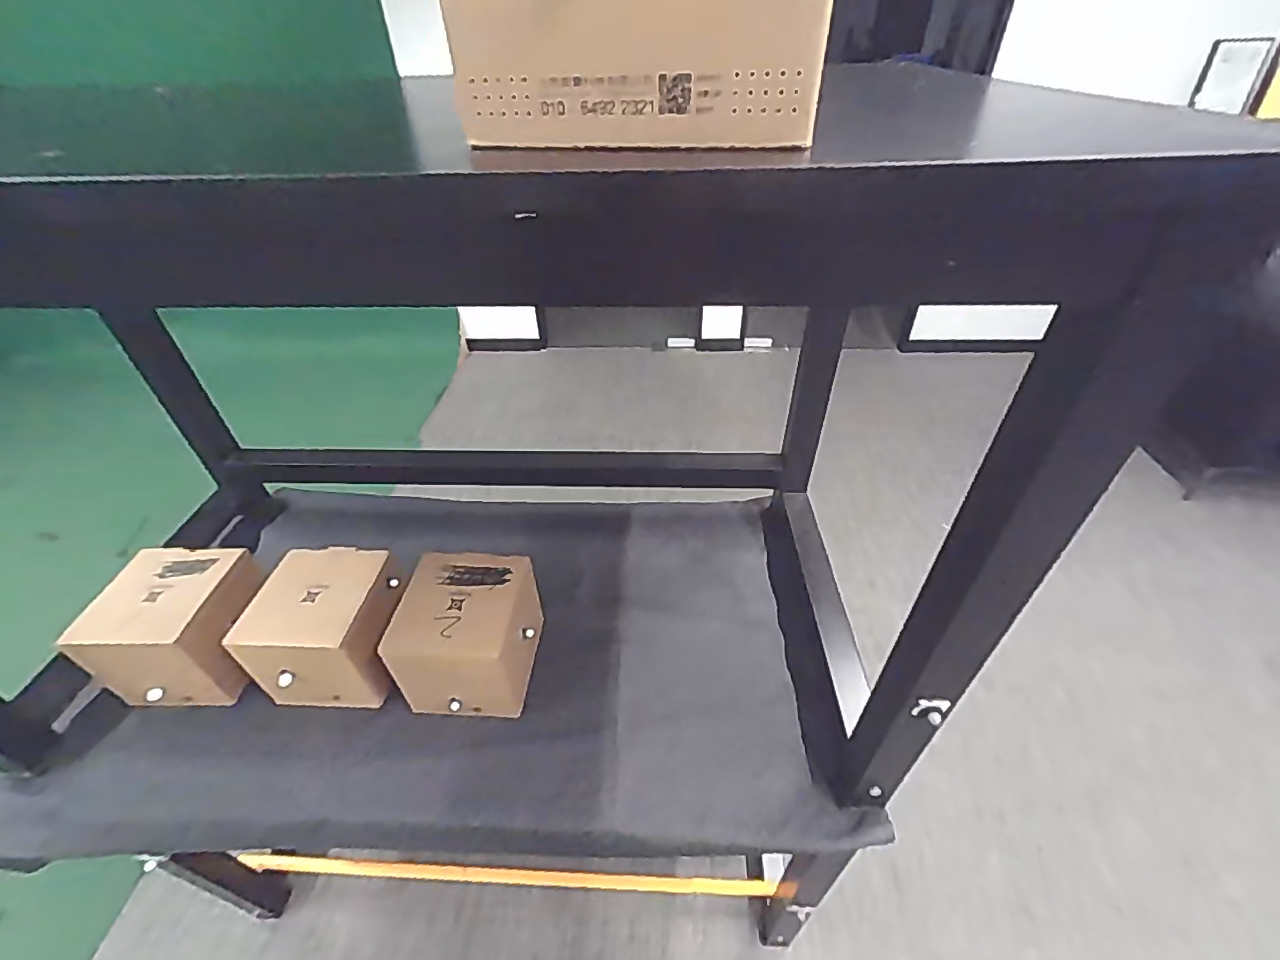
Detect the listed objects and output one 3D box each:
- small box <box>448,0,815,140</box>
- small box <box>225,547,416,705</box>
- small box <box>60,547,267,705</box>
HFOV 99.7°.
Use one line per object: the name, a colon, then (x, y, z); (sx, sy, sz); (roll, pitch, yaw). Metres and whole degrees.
small box: (0.006, -0.278, 0.269); (0.168, 0.176, 0.179); (7, 40, 10)
small box: (-0.468, 0.224, 0.831); (0.168, 0.176, 0.179); (1, 39, 3)
small box: (-0.695, 0.223, 0.836); (0.168, 0.176, 0.179); (-1, 40, 1)
